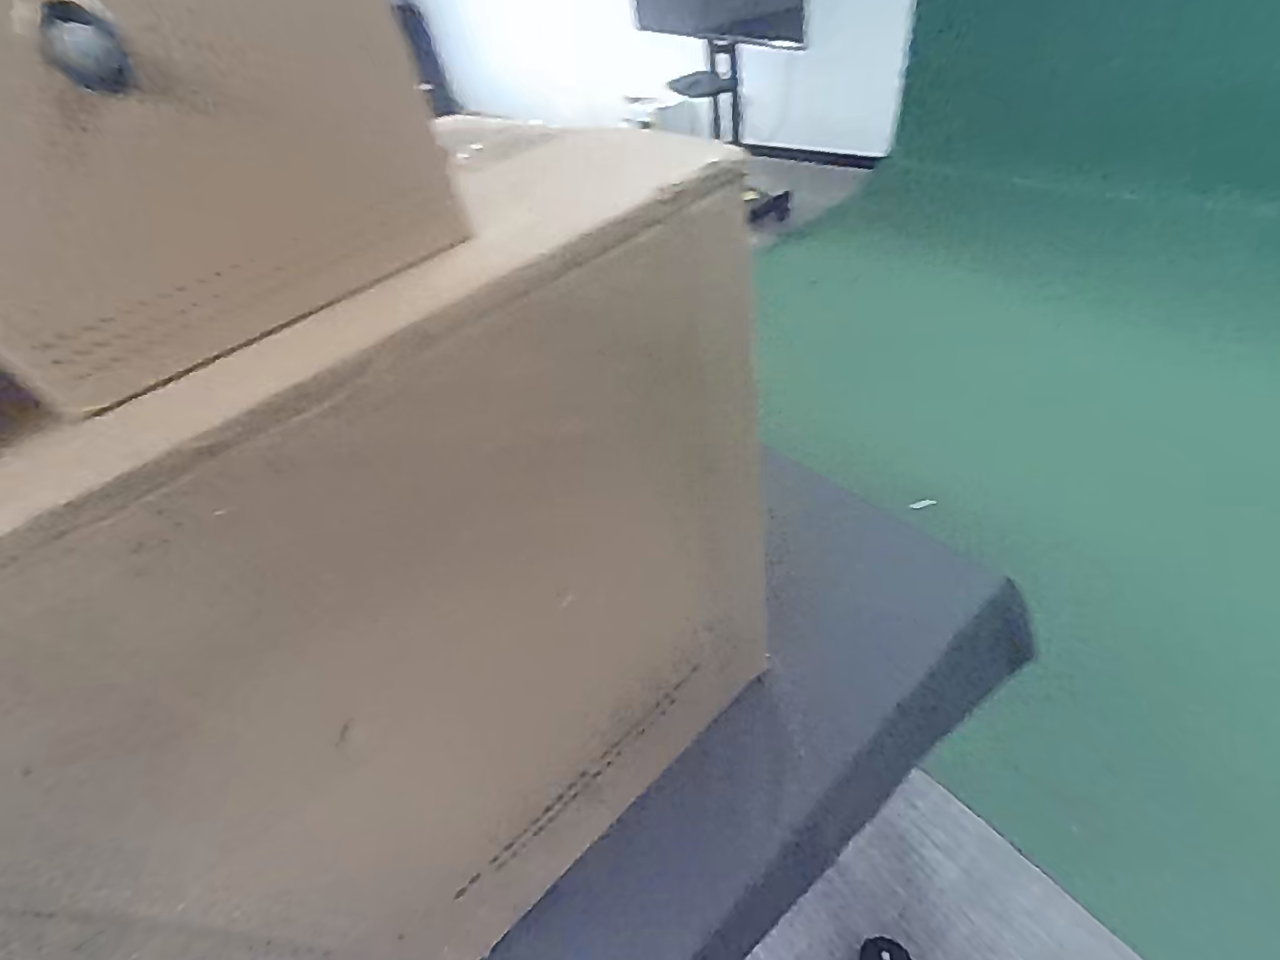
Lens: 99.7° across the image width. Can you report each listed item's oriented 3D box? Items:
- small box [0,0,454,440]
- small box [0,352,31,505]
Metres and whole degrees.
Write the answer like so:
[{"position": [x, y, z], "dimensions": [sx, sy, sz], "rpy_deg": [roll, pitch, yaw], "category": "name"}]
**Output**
[{"position": [-0.208, -0.152, 0.240], "dimensions": [0.179, 0.176, 0.168], "rpy_deg": [-37, 50, -20], "category": "small box"}, {"position": [-0.363, -0.034, 0.171], "dimensions": [0.179, 0.176, 0.168], "rpy_deg": [31, 63, 34], "category": "small box"}]
